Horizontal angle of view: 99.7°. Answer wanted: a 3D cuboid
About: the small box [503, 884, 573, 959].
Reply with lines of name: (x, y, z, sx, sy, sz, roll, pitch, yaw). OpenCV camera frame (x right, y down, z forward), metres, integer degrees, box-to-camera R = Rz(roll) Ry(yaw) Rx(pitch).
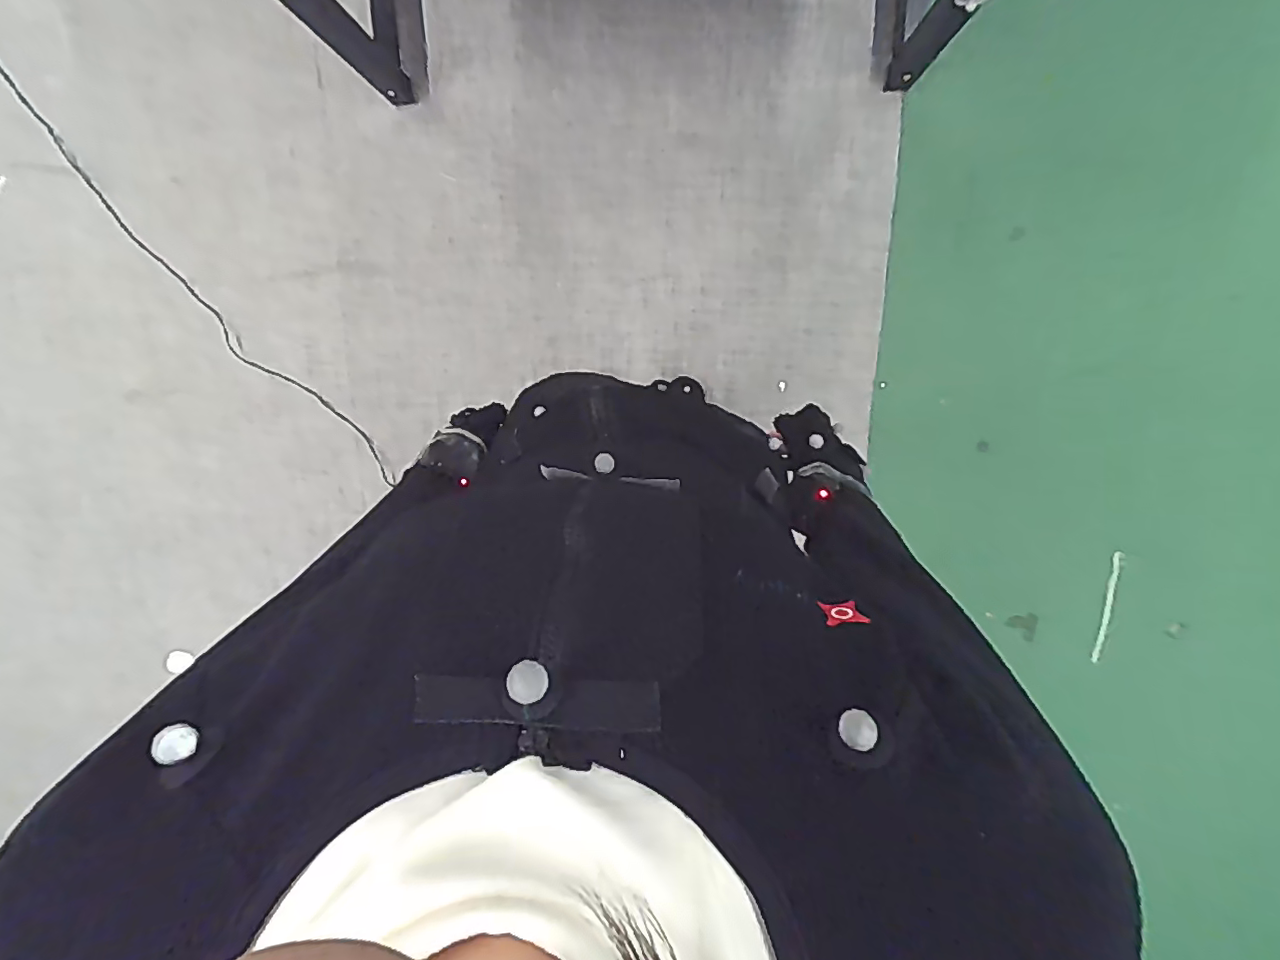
small box: (-0.300, 1.369, 1.641, 0.179, 0.176, 0.168, -1, 104, 3)

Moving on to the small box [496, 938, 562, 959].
small box: (-0.312, 1.384, 1.458, 0.179, 0.176, 0.168, -1, 104, 3)
